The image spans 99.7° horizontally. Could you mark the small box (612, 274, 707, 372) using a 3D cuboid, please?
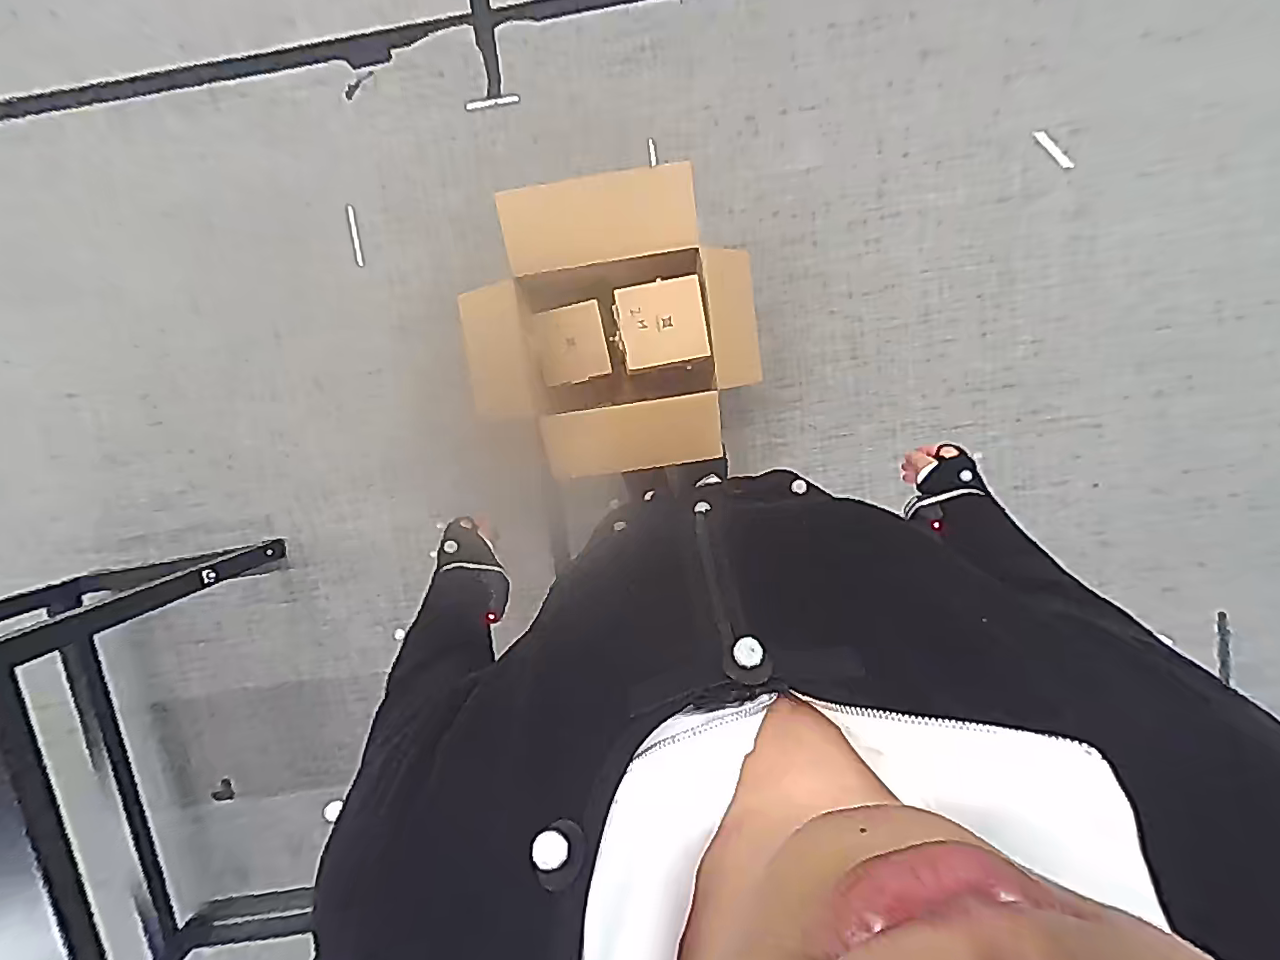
[{"bbox_3d":[0.040,-0.337,1.188,0.179,0.176,0.168,-11,97,1],"label":"small box"}]
